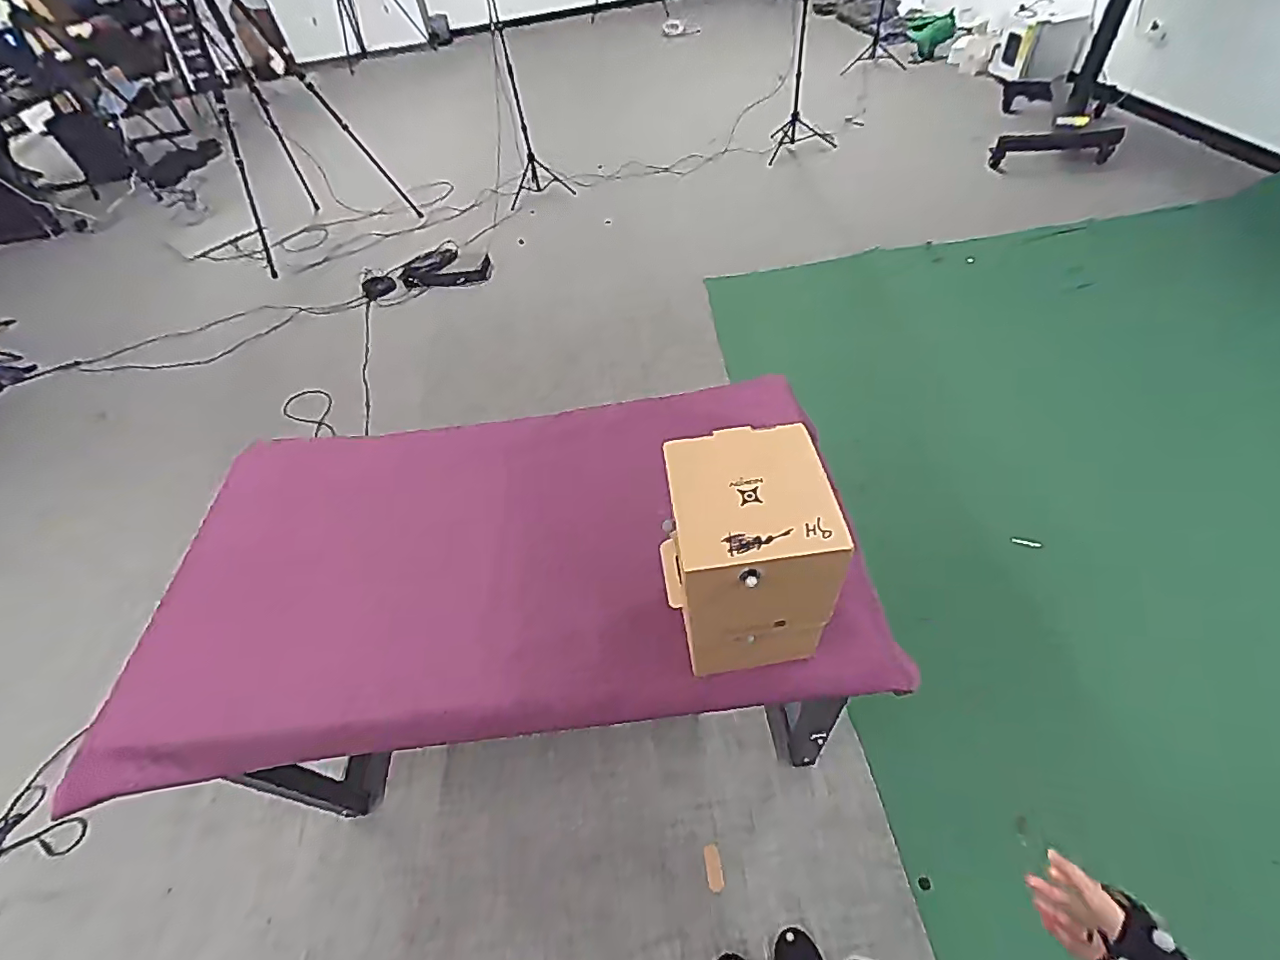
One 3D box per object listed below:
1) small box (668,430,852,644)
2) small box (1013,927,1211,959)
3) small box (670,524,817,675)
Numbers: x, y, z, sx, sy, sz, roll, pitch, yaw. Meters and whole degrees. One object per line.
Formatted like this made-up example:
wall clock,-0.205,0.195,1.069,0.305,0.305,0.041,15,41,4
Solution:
small box,0.126,0.068,0.631,0.168,0.176,0.179,-8,49,3
small box,0.334,0.416,0.314,0.168,0.179,0.176,-26,71,-28
small box,0.146,0.160,0.767,0.179,0.176,0.168,-10,50,1
